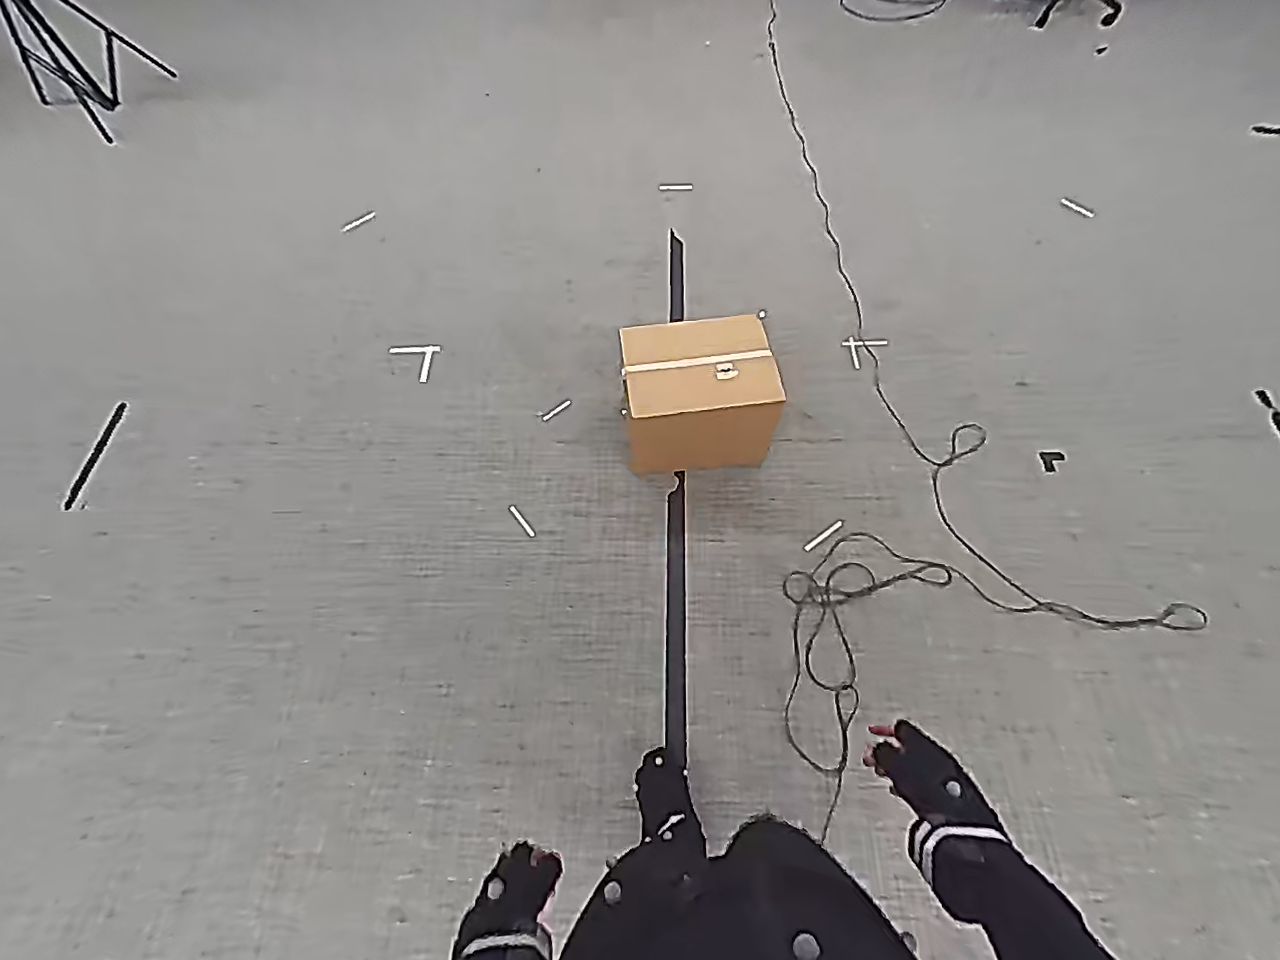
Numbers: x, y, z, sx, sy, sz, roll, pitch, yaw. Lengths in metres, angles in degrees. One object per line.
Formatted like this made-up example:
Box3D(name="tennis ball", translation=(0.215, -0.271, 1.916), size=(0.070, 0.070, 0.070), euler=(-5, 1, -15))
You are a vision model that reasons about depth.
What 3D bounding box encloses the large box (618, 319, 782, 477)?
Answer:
Box3D(name="large box", translation=(0.157, -0.233, 1.594), size=(0.408, 0.320, 0.320), euler=(-7, 61, -2))
